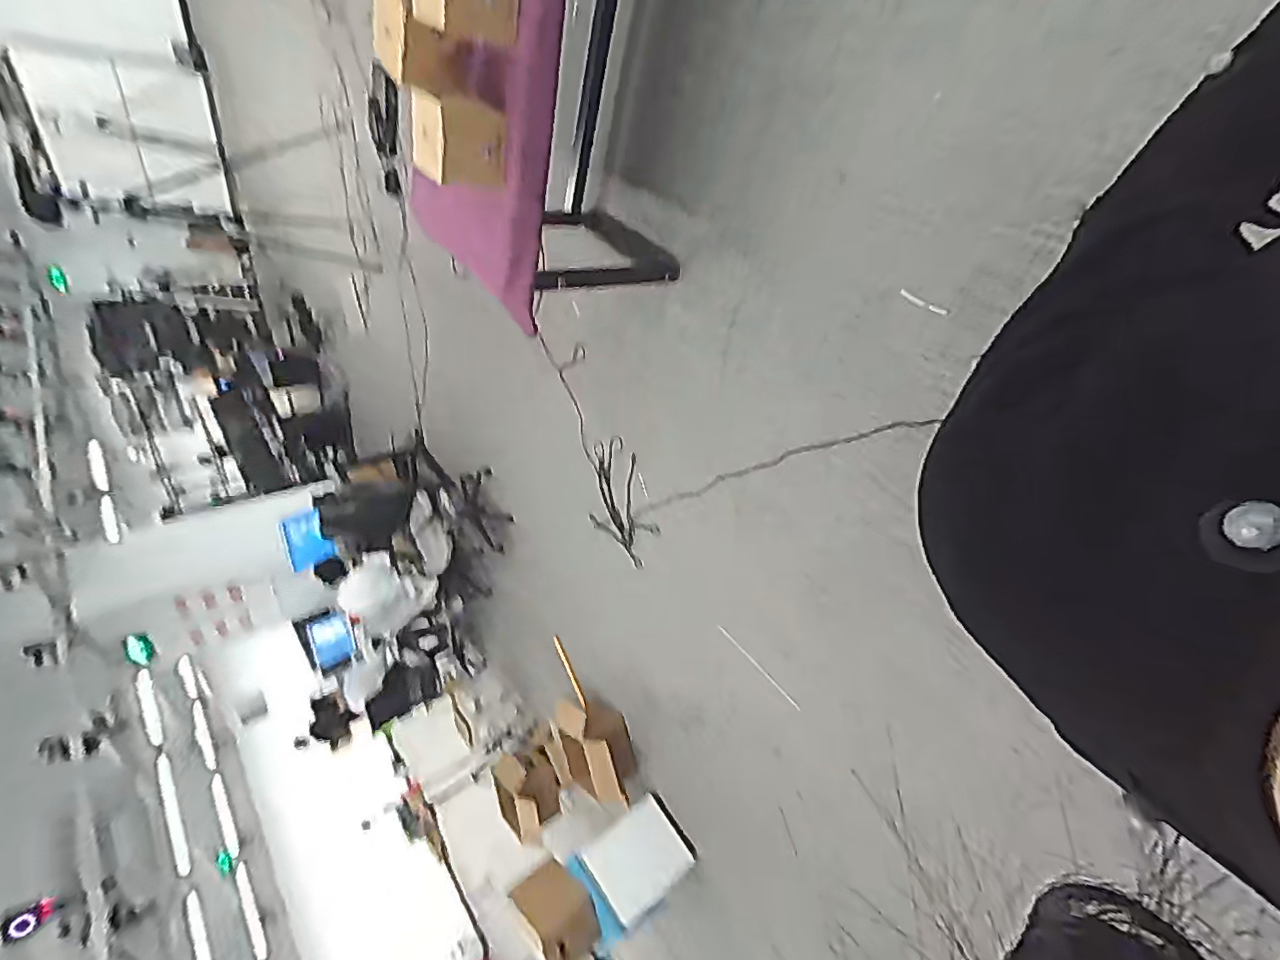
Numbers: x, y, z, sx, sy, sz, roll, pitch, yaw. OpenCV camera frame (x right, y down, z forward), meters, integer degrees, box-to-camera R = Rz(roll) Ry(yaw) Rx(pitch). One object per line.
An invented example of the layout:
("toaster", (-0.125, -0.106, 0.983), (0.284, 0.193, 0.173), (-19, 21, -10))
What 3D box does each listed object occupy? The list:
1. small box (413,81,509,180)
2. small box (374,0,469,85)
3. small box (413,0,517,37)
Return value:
("small box", (-0.448, -0.865, 1.350), (0.179, 0.176, 0.168), (45, 137, 30))
("small box", (-0.547, -1.125, 1.356), (0.179, 0.176, 0.168), (52, 139, 22))
("small box", (-0.370, -1.077, 1.153), (0.179, 0.176, 0.168), (46, 137, 29))
